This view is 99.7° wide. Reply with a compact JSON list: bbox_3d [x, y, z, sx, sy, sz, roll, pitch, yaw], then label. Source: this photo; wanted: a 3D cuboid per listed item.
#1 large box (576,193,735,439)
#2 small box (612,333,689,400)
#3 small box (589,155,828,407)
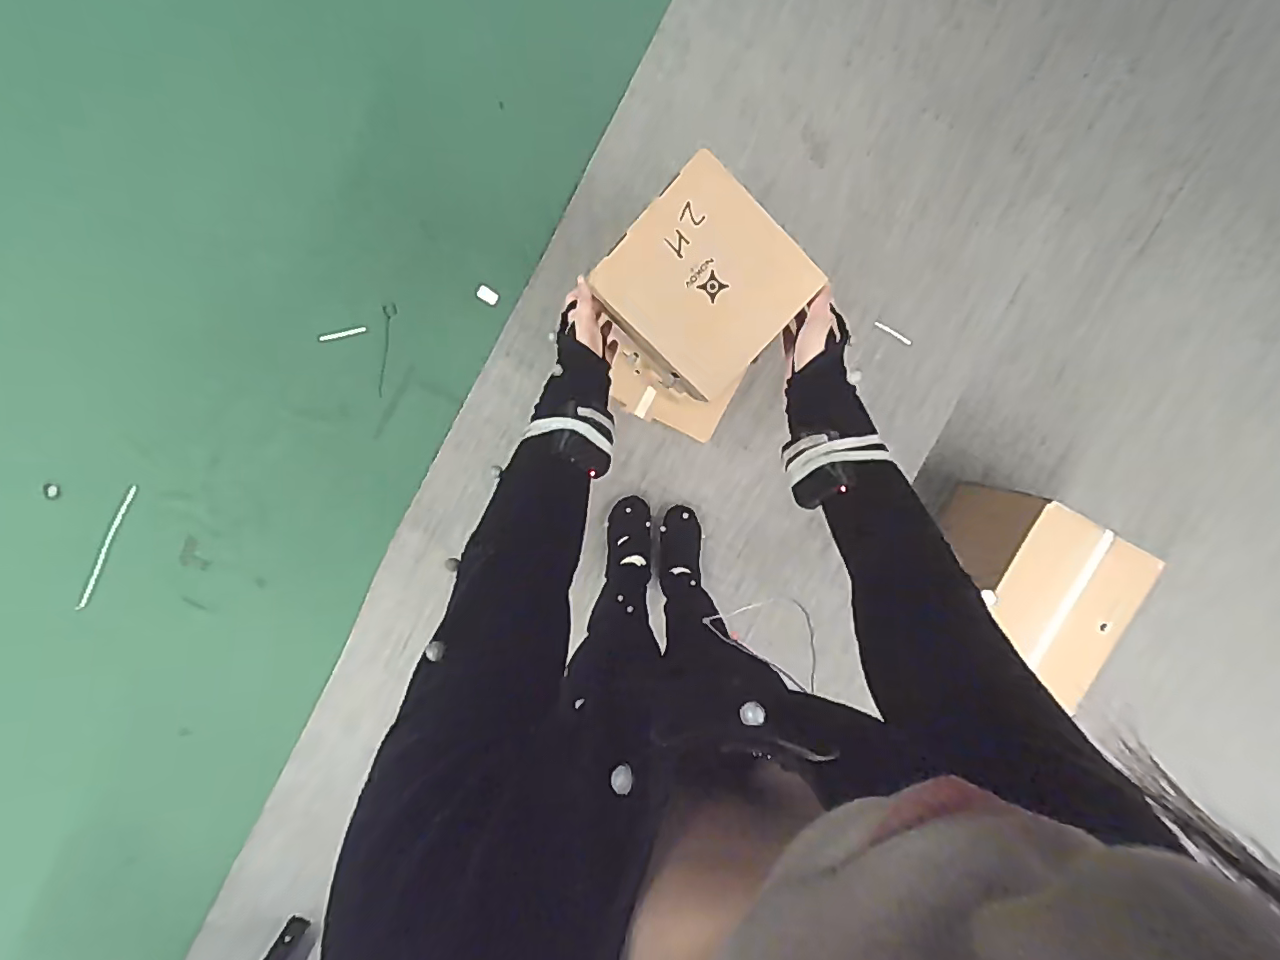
[{"bbox_3d":[0.085,-0.337,1.234,0.320,0.320,0.408,27,95,-5],"label":"large box"},{"bbox_3d":[0.062,-0.264,0.998,0.168,0.176,0.179,38,95,-5],"label":"small box"},{"bbox_3d":[0.067,-0.203,0.599,0.179,0.176,0.168,43,97,-8],"label":"small box"}]
